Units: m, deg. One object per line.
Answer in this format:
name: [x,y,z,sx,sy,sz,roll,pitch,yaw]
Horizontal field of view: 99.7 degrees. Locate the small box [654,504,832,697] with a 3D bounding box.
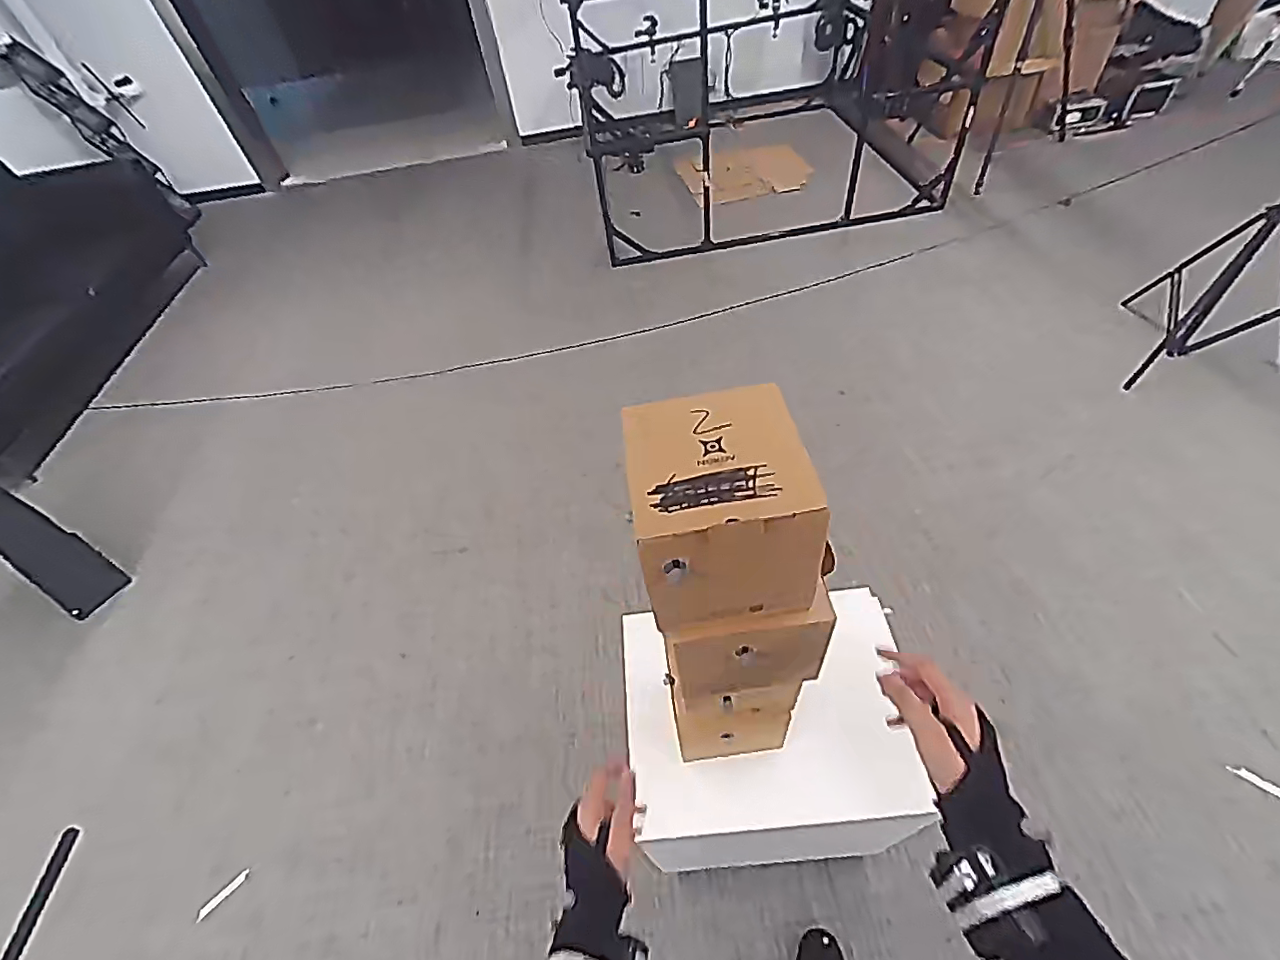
small box: [0.119,0.154,0.675,0.179,0.176,0.168,-8,49,1]

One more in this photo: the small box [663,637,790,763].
small box: [0.142,0.366,0.923,0.179,0.176,0.168,-9,49,0]

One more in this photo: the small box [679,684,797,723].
small box: [0.135,0.248,0.810,0.168,0.176,0.179,-8,48,1]
